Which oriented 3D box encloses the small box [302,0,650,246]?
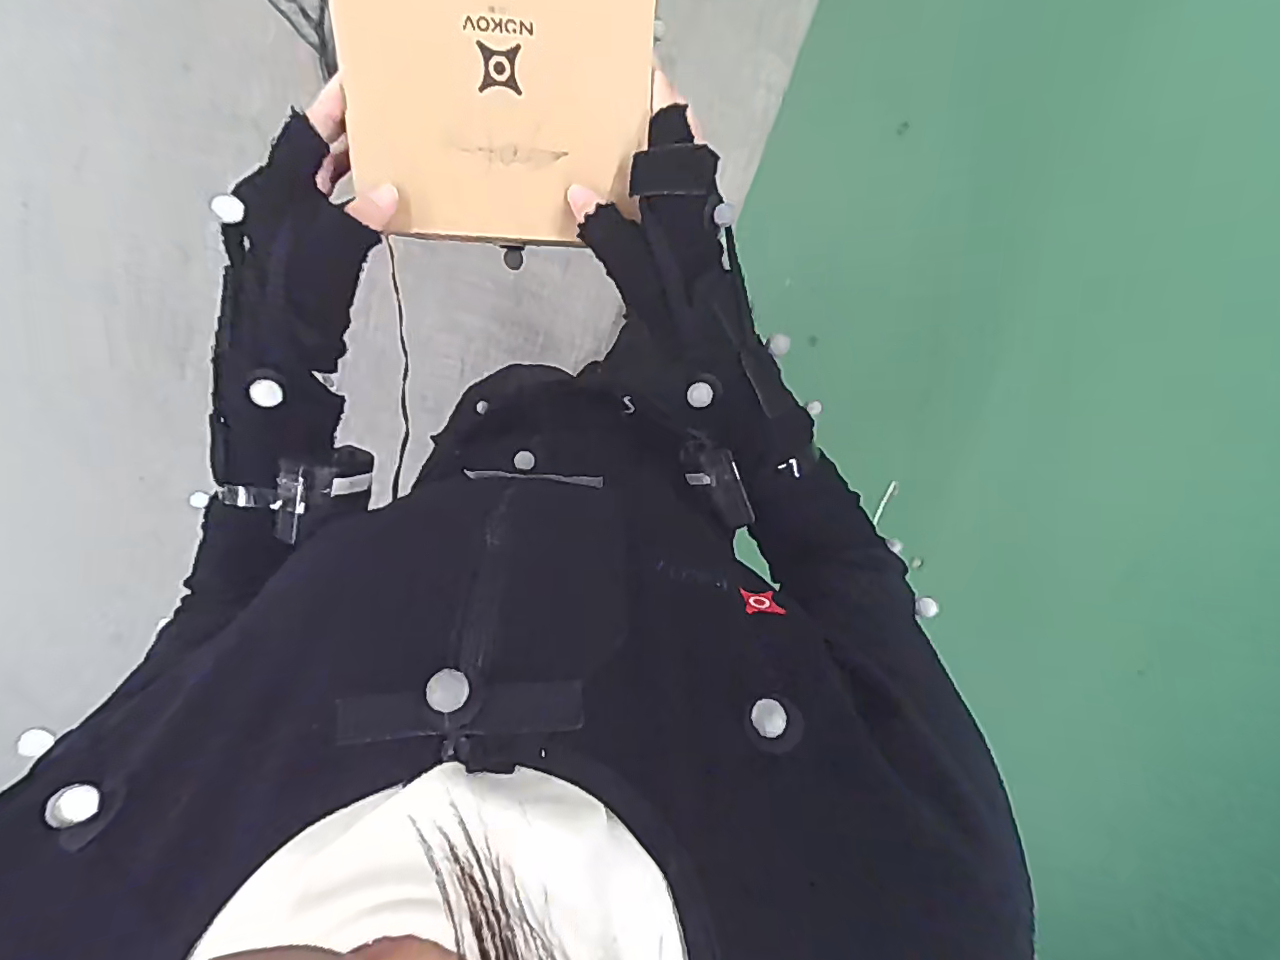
[{"bbox_3d":[-0.084,-0.250,0.337,0.168,0.176,0.179,2,112,-5],"label":"small box"}]
